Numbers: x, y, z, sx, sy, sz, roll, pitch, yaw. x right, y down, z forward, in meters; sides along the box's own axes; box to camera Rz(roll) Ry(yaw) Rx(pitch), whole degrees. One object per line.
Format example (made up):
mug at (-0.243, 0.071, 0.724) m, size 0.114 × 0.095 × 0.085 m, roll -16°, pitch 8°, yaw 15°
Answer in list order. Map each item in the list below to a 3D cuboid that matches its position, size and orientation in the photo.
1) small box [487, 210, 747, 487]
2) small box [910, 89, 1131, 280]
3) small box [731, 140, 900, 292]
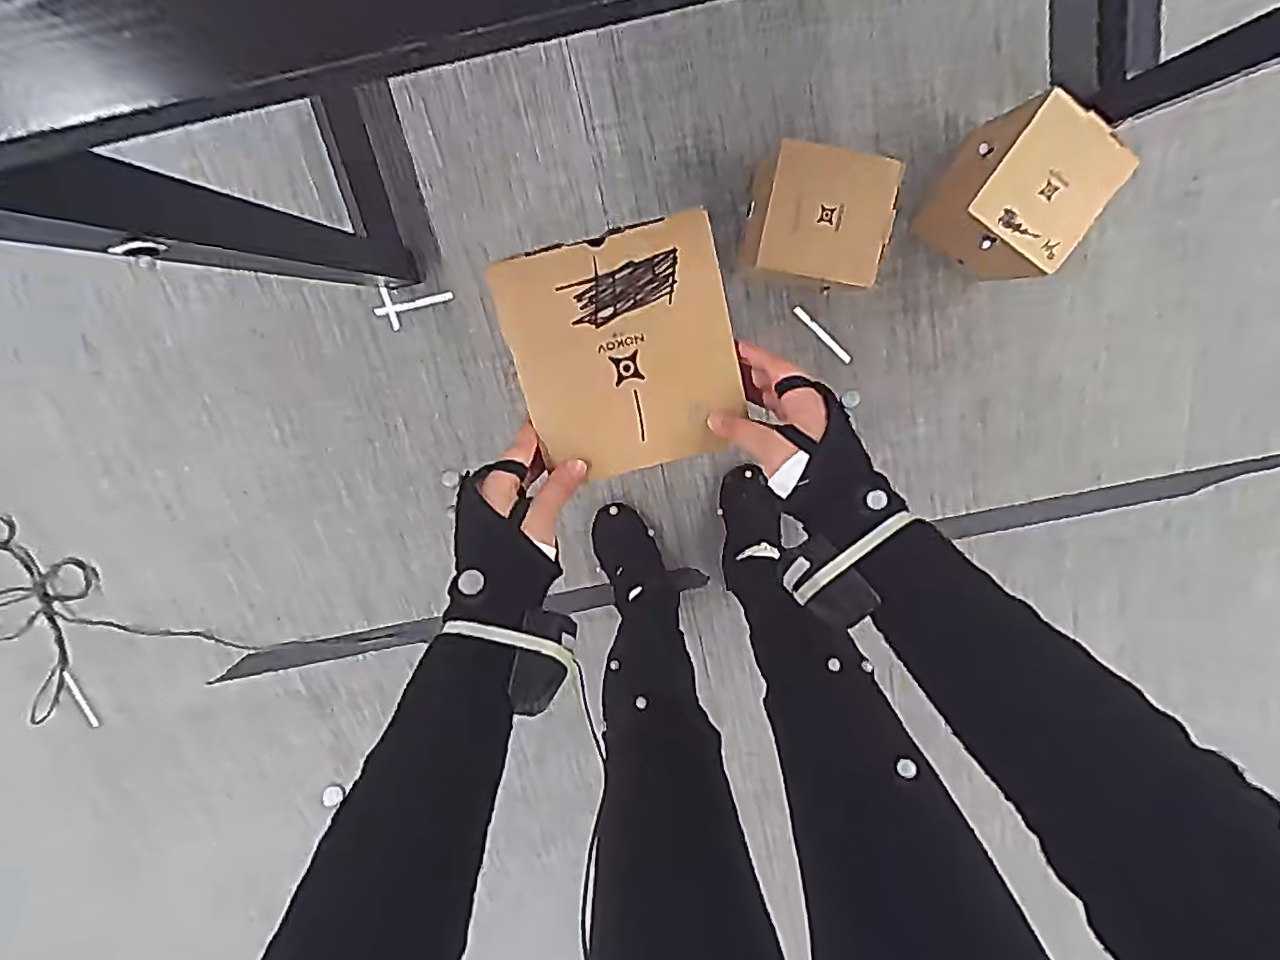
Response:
small box at (-0.018, -0.112, 0.484) m, size 0.168 × 0.176 × 0.179 m, roll -14°, pitch 105°, yaw 1°
small box at (0.552, -0.424, 0.813) m, size 0.168 × 0.176 × 0.179 m, roll 30°, pitch 104°, yaw -10°
small box at (0.251, -0.384, 0.819) m, size 0.179 × 0.176 × 0.168 m, roll 8°, pitch 106°, yaw -3°
